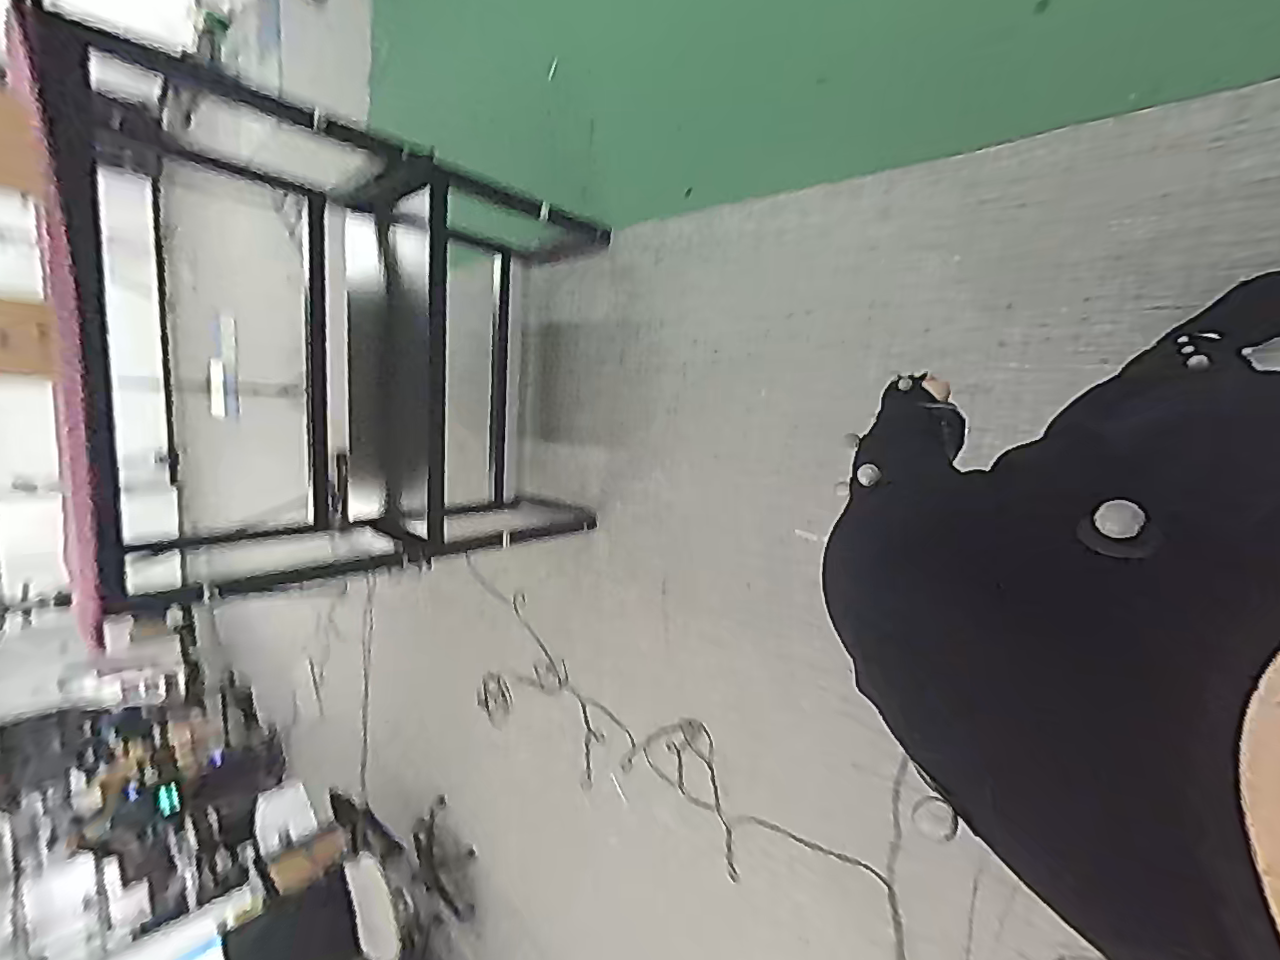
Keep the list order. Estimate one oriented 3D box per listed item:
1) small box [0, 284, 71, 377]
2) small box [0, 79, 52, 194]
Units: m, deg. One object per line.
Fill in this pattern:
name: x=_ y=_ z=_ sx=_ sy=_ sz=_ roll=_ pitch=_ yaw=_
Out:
small box: x=-1.233 y=-0.292 z=1.048 sx=0.179 sy=0.176 sz=0.168 roll=14 pitch=102 yaw=40
small box: x=-1.231 y=-0.654 z=1.012 sx=0.168 sy=0.176 sz=0.179 roll=19 pitch=107 yaw=41
